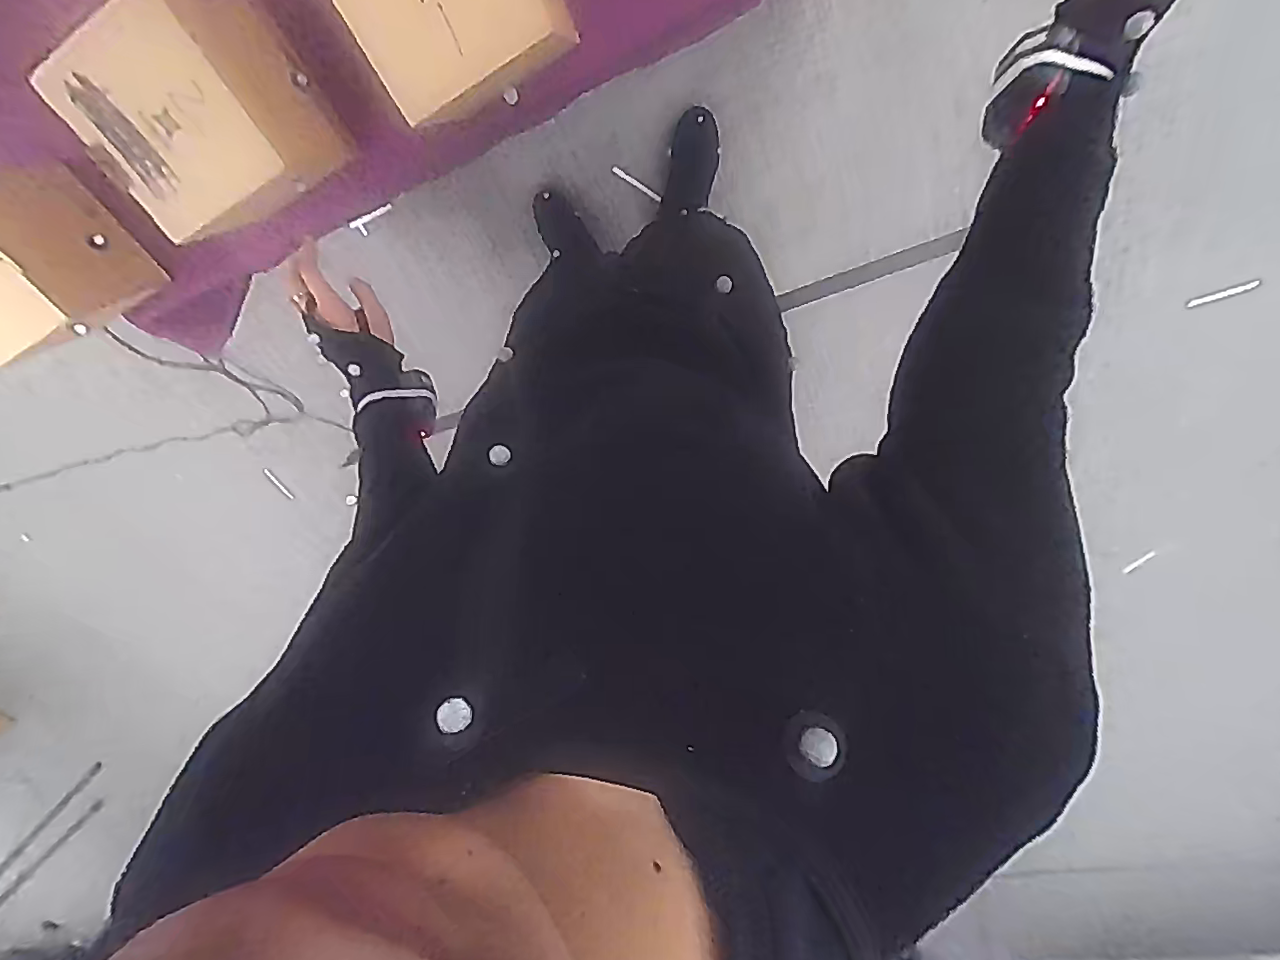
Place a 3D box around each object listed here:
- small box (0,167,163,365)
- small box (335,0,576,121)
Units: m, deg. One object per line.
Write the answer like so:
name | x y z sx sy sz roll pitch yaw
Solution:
small box | -0.795 -0.279 0.706 0.179 0.176 0.168 -21 122 17
small box | -0.180 -0.477 0.514 0.168 0.176 0.179 -20 123 18
